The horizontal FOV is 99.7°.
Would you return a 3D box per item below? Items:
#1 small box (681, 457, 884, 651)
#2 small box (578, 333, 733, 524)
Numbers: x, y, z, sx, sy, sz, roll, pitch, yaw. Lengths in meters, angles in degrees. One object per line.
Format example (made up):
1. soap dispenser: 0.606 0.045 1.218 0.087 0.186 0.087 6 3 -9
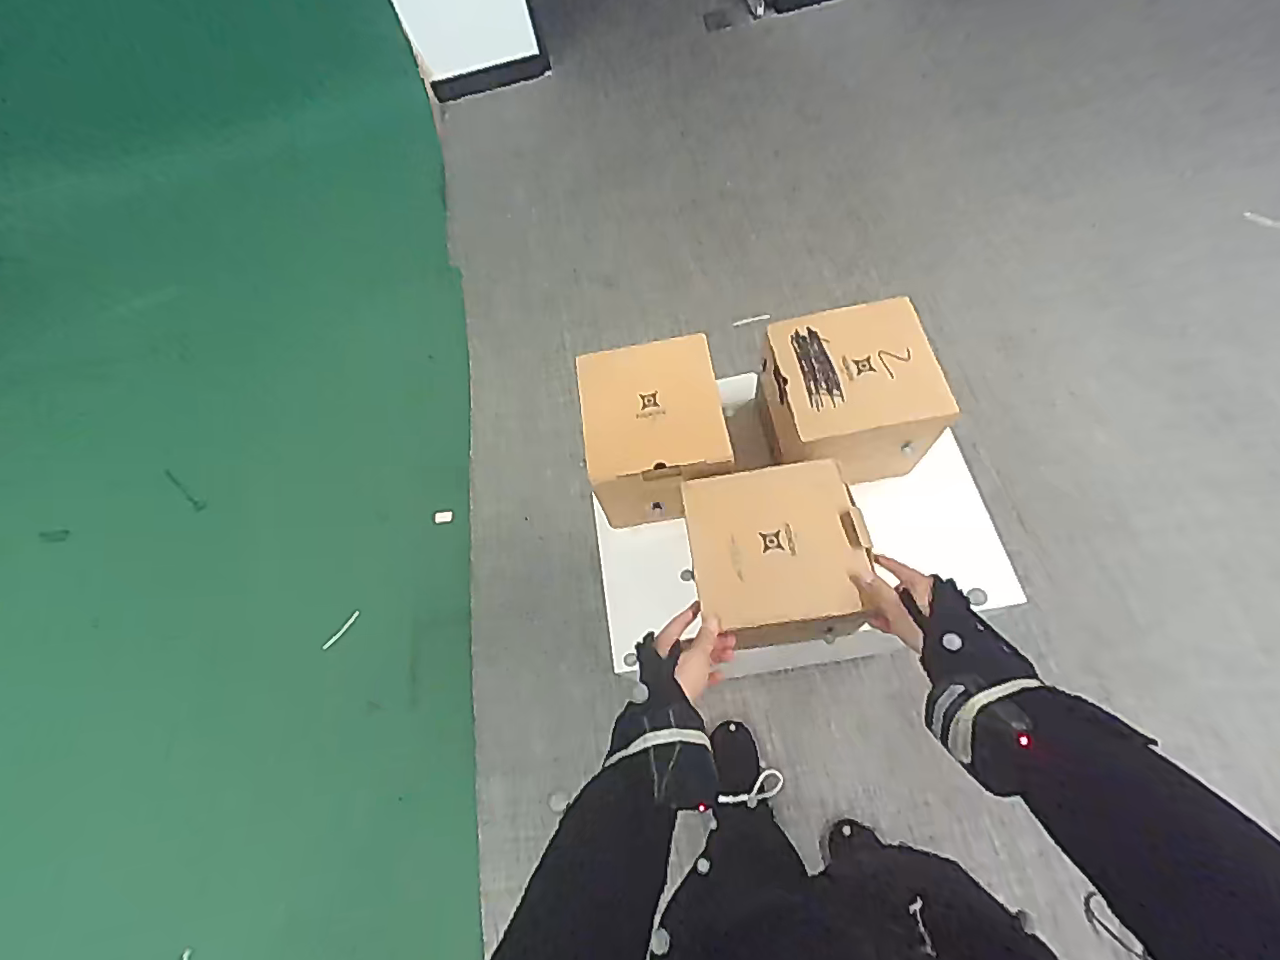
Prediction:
1. small box: 0.149 0.094 0.622 0.179 0.176 0.168 -10 64 5
2. small box: 0.020 -0.060 0.706 0.168 0.176 0.179 -10 67 2
